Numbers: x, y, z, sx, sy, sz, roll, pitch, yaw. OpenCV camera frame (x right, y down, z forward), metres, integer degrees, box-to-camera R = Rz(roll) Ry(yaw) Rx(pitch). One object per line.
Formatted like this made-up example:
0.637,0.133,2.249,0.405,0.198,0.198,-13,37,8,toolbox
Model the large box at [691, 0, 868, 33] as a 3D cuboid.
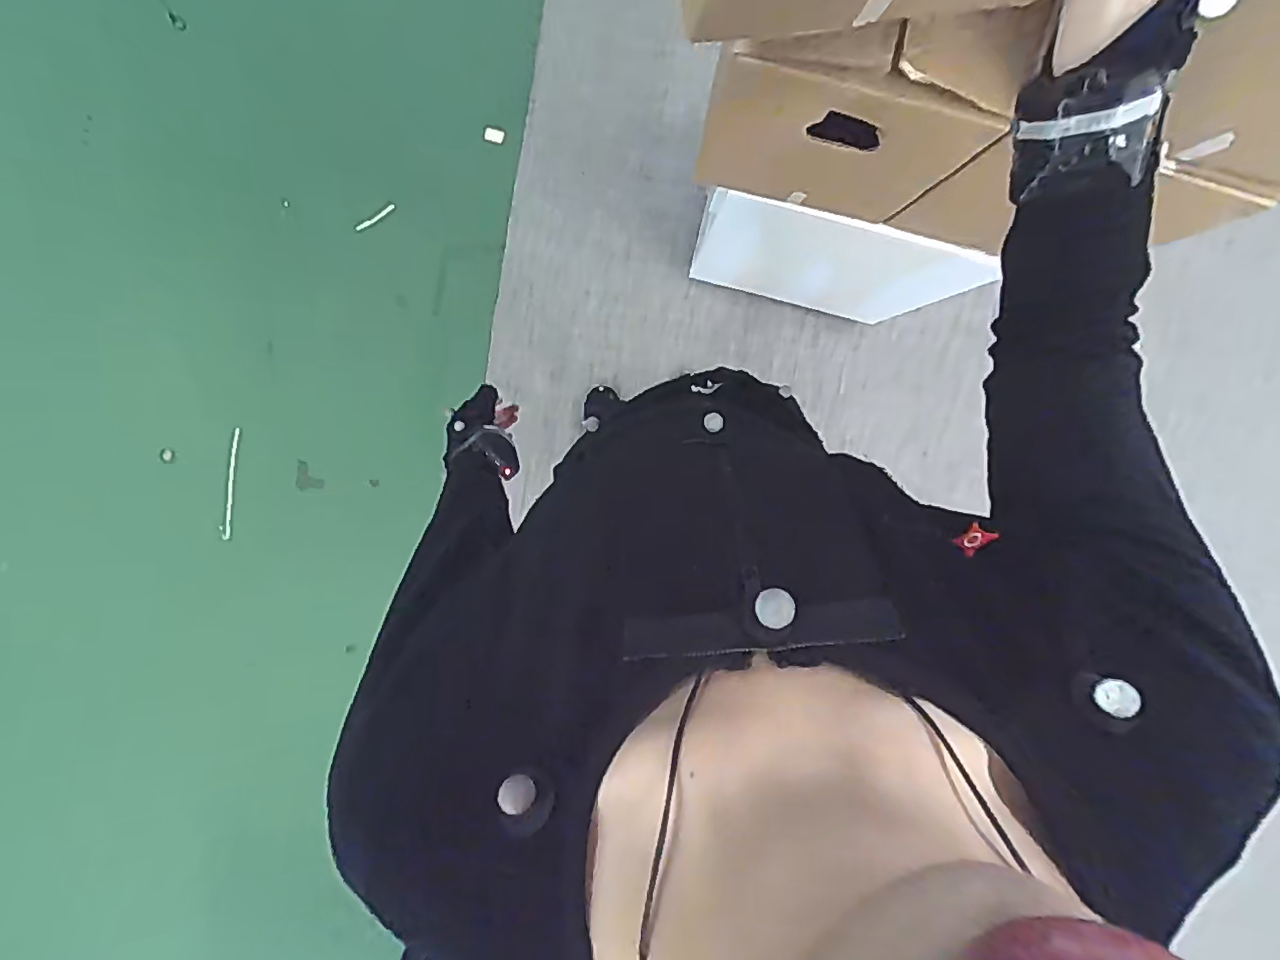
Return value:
0.170,-0.539,0.254,0.320,0.320,0.408,-10,107,-3,large box
